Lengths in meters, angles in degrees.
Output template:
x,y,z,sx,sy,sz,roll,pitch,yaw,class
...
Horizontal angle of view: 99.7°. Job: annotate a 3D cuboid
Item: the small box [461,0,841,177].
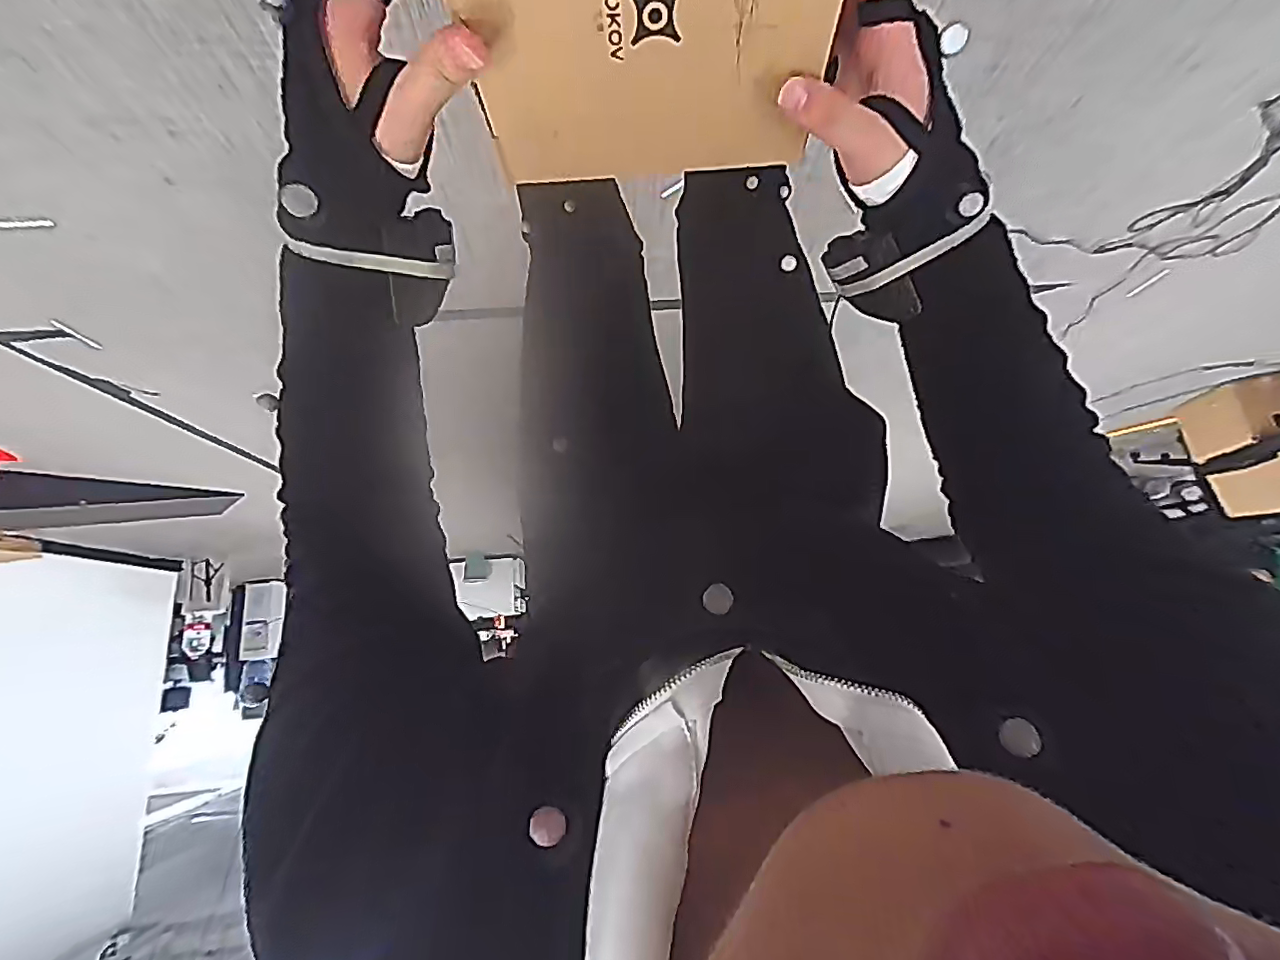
x,y,z,sx,sy,sz,roll,pitch,yaw,class
0.003,-0.291,0.274,0.179,0.176,0.168,-4,162,2,small box
